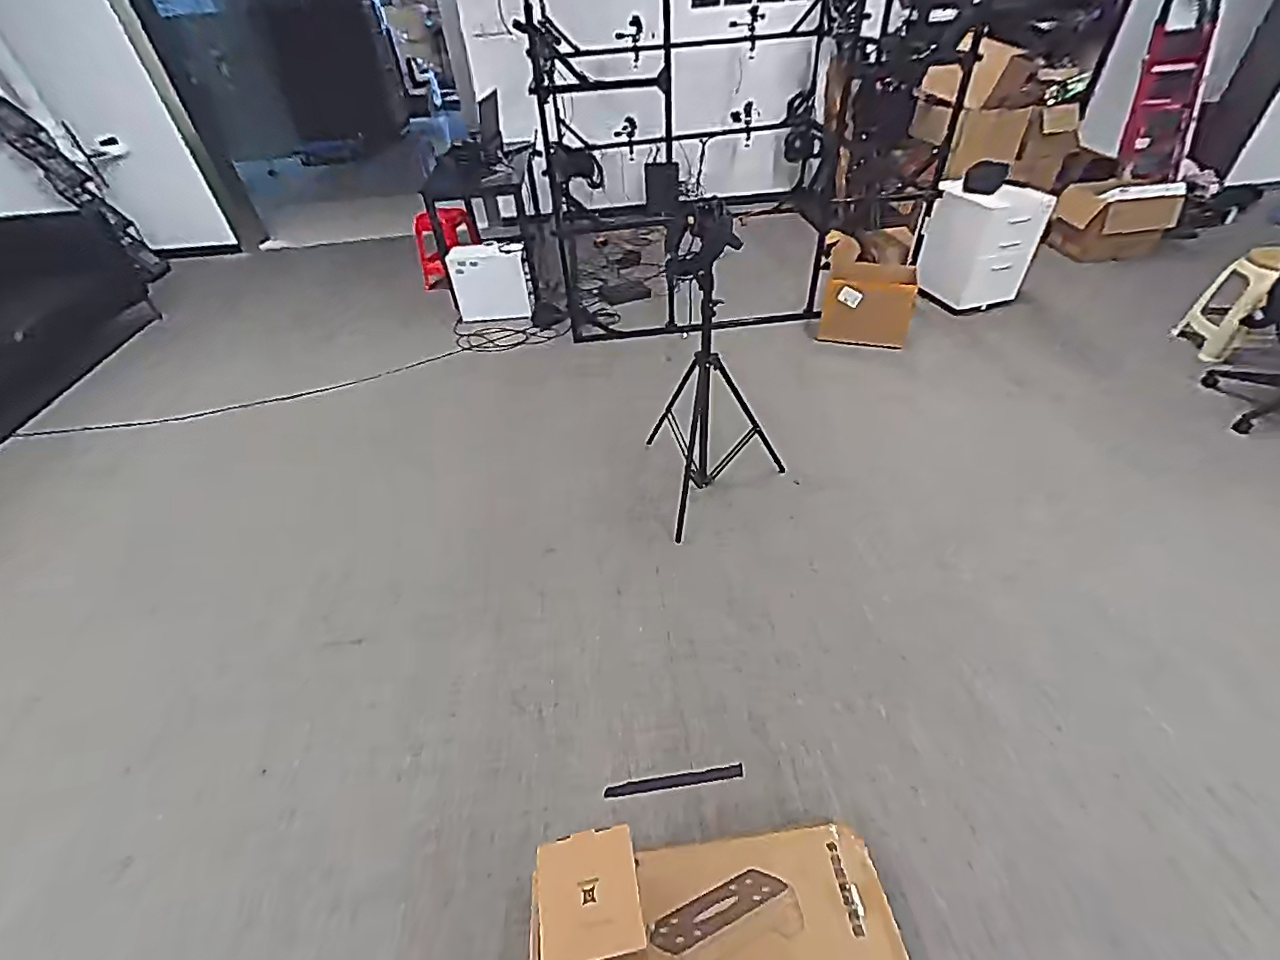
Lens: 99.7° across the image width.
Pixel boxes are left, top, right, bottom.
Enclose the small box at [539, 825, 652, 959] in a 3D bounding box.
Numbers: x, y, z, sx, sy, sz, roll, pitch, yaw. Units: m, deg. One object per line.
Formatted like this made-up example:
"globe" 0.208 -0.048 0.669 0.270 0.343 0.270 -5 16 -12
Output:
"small box" -0.077 0.737 0.934 0.168 0.176 0.179 -10 42 -7
